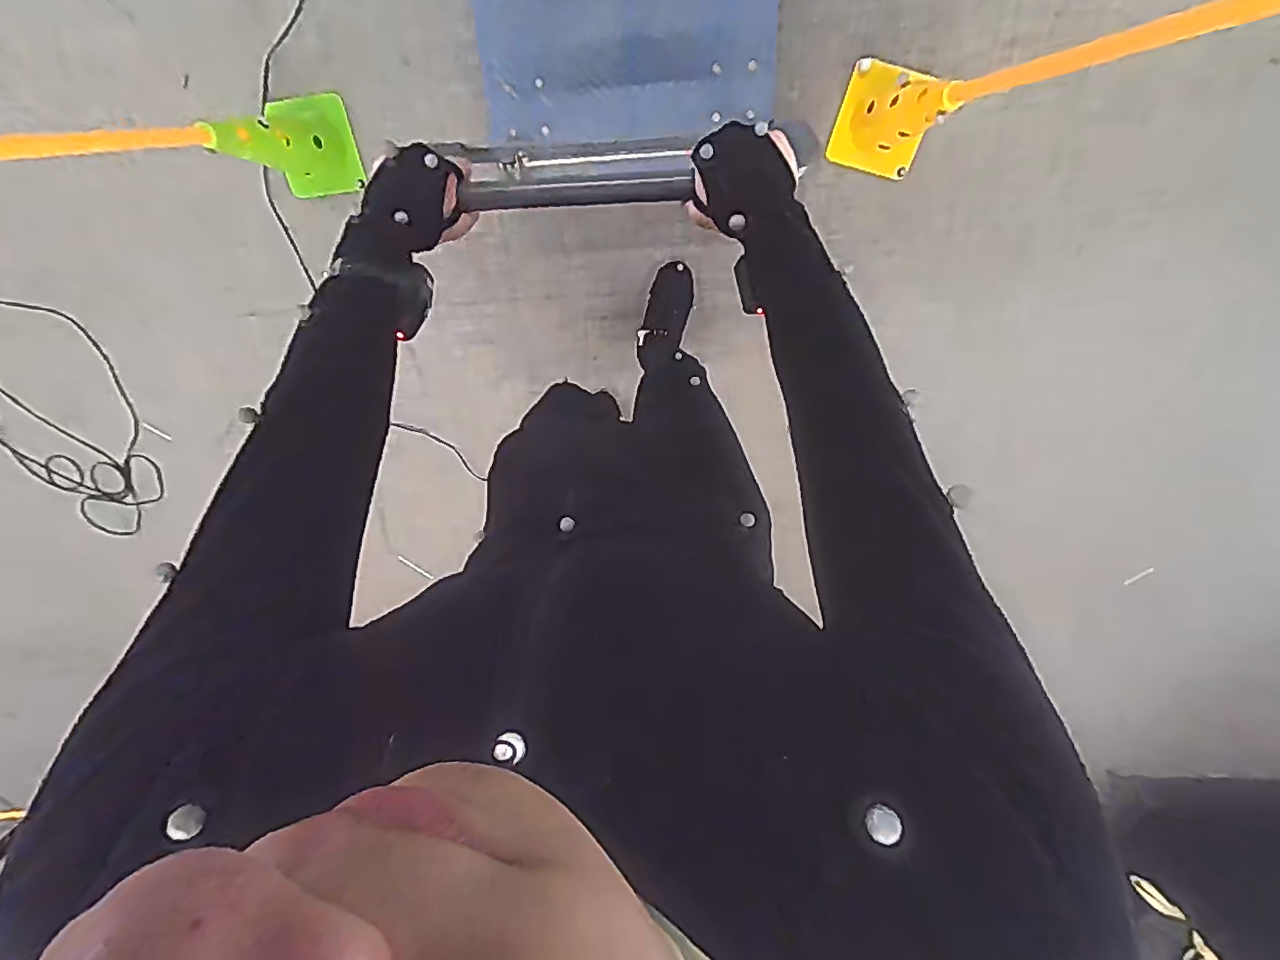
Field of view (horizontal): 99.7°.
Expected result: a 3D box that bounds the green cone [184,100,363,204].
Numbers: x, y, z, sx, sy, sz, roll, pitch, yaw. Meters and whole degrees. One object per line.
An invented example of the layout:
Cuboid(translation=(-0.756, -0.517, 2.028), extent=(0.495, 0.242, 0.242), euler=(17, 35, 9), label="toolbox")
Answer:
Cuboid(translation=(-0.798, -0.705, 1.148), extent=(0.202, 0.368, 0.200), euler=(-4, 117, 8), label="green cone")
